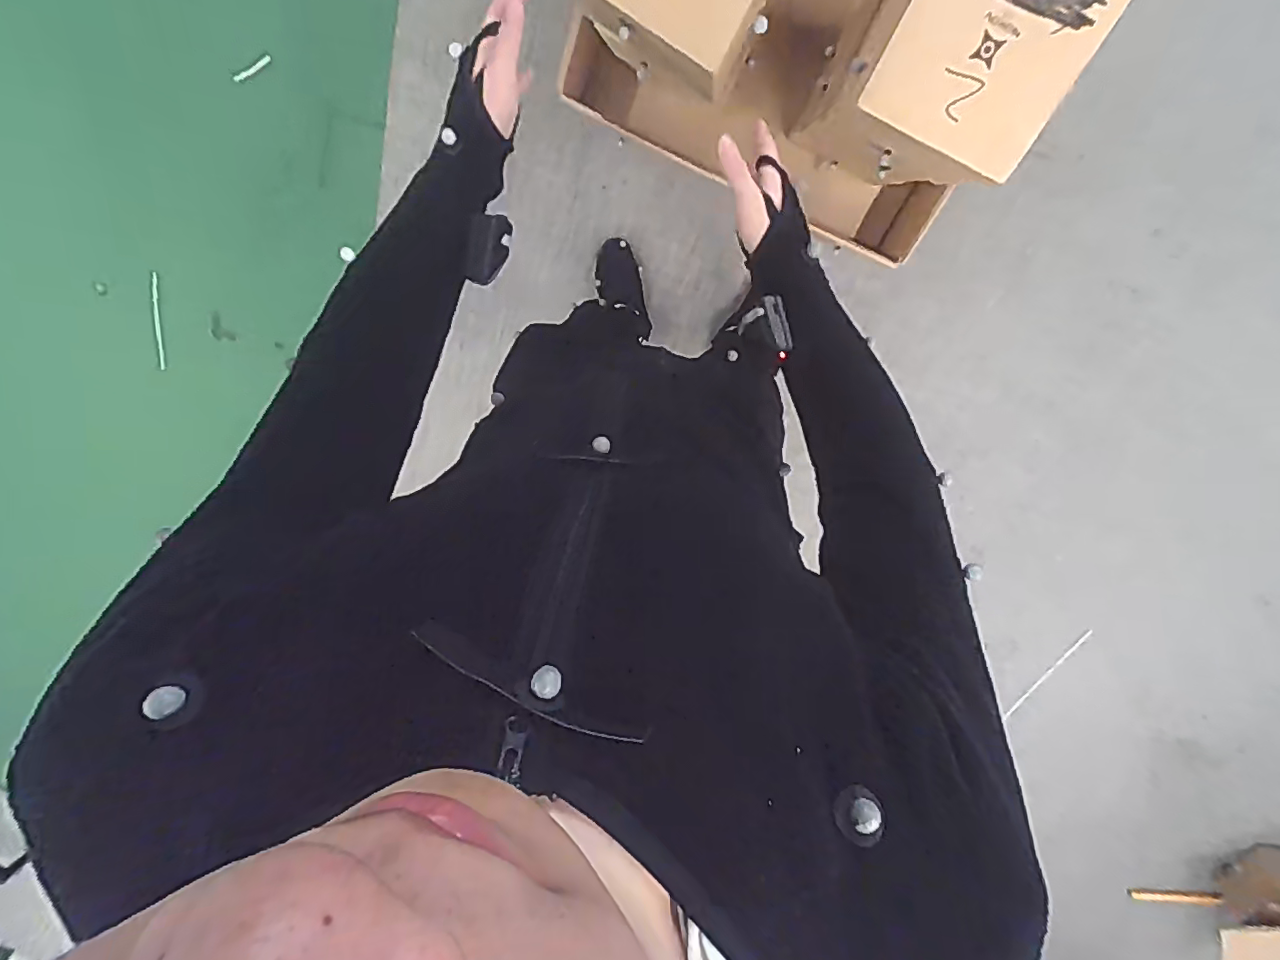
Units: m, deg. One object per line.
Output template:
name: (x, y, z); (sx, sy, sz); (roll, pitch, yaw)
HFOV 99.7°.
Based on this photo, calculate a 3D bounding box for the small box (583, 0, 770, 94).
small box: (0.044, -0.513, 0.524); (0.179, 0.176, 0.168); (29, 118, -8)

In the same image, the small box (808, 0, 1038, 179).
small box: (0.330, -0.503, 0.679); (0.168, 0.176, 0.179); (23, 118, -6)

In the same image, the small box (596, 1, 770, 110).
small box: (0.066, -0.593, 0.666); (0.168, 0.176, 0.179); (26, 117, -7)
